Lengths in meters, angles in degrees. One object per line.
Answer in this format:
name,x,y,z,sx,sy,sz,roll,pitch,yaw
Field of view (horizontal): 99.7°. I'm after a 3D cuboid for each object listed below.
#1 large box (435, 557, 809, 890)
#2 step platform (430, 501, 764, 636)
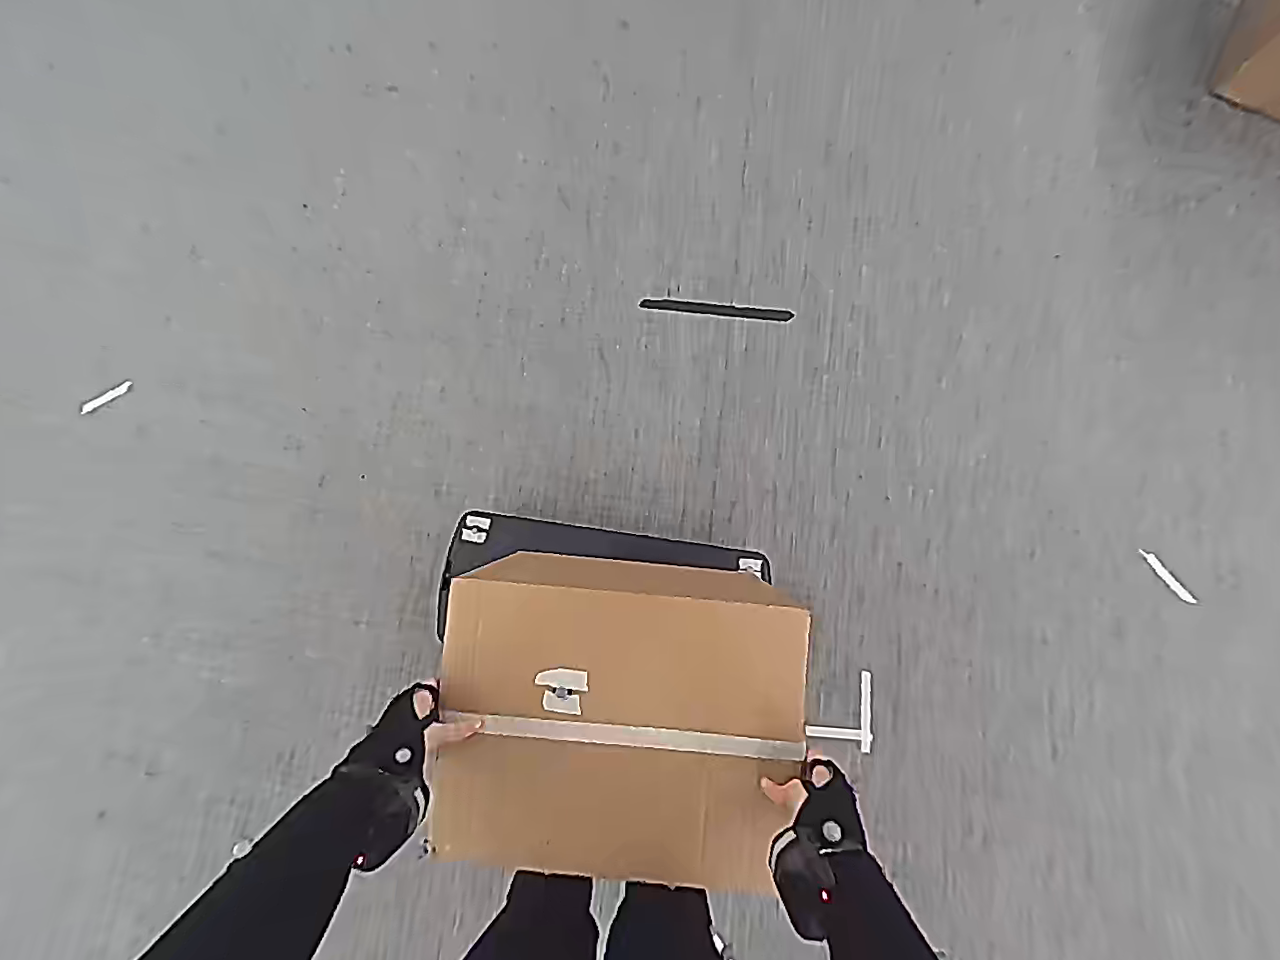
large box,-0.012,0.284,0.743,0.408,0.320,0.320,4,86,3
step platform,-0.081,0.254,1.157,0.684,0.204,0.286,13,80,4
